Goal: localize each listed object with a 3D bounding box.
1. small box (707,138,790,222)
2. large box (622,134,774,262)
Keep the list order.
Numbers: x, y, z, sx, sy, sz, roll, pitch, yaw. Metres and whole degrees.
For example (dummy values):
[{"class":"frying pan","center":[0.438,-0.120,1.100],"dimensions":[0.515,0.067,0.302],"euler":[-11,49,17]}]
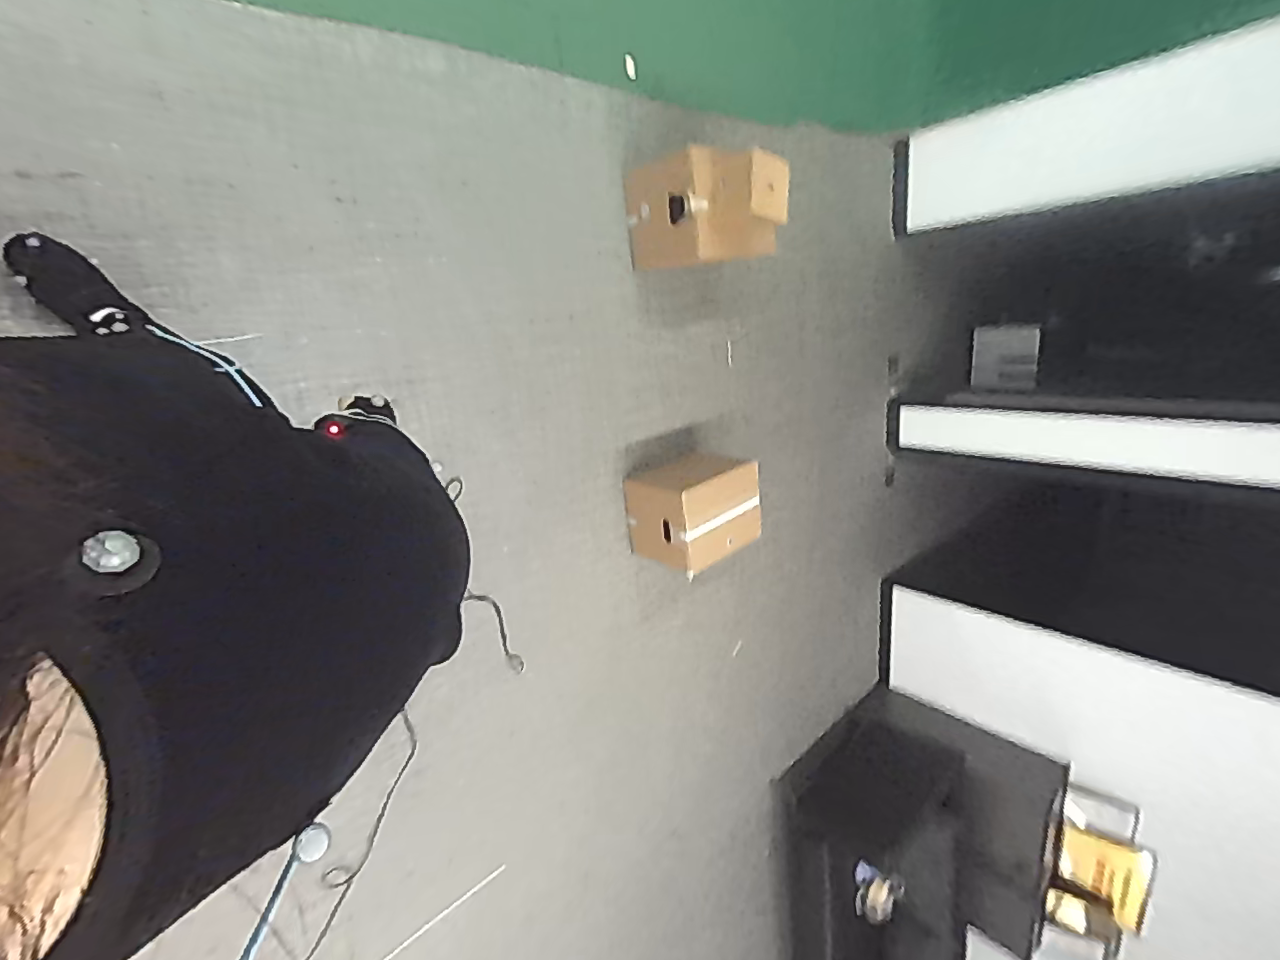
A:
[{"class":"small box","center":[0.324,-0.885,1.614],"dimensions":[0.179,0.176,0.168],"euler":[-8,104,-40]},{"class":"large box","center":[0.202,-0.933,1.827],"dimensions":[0.408,0.320,0.320],"euler":[-22,114,-38]}]
